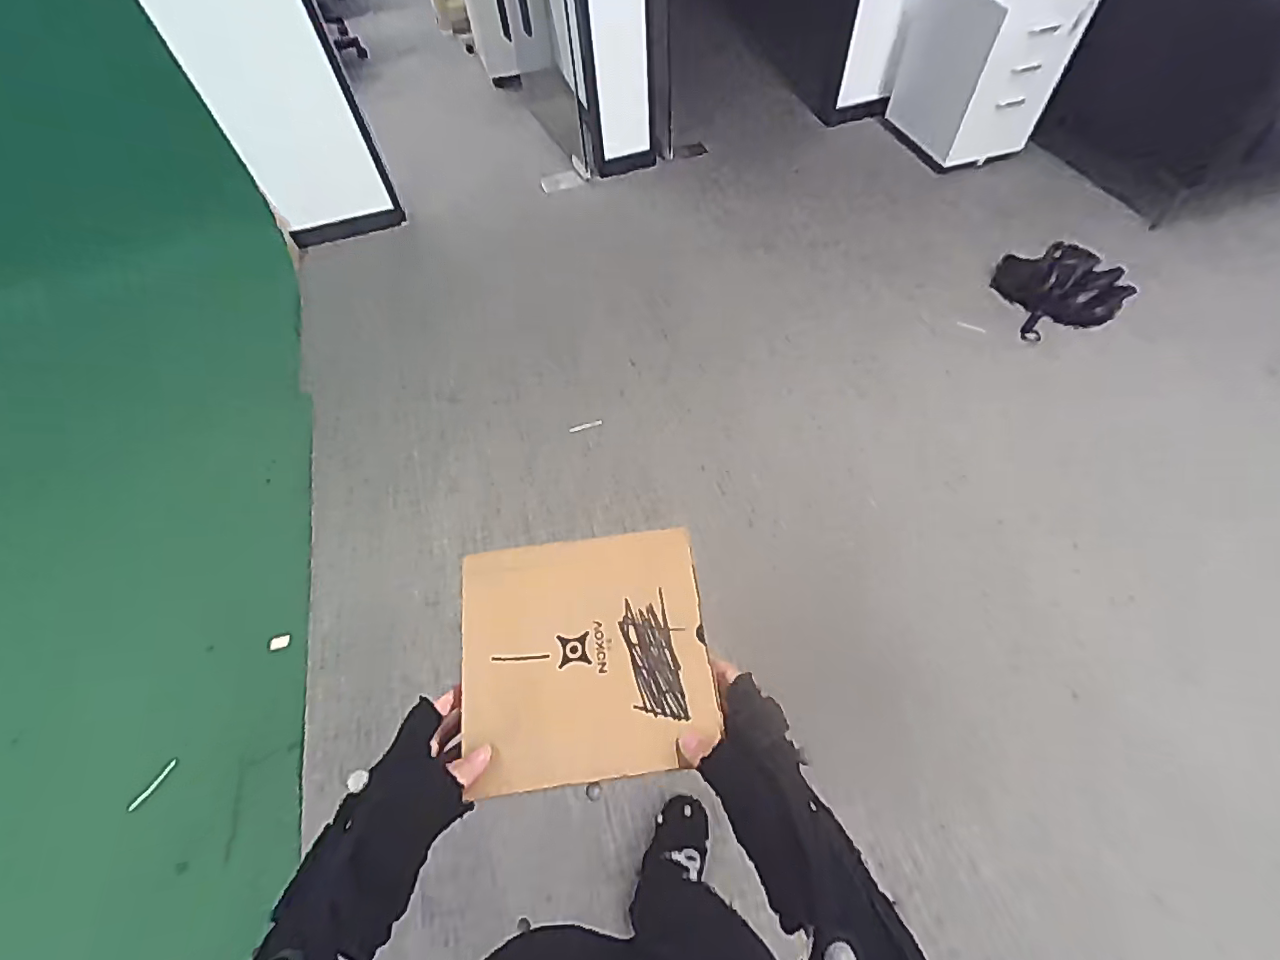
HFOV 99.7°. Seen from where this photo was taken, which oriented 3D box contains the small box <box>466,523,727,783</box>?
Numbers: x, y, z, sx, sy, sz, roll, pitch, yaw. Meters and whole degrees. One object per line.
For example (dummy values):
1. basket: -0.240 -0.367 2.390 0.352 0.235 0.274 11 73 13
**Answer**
1. small box: -0.038 0.149 0.461 0.179 0.176 0.168 -7 65 -3
